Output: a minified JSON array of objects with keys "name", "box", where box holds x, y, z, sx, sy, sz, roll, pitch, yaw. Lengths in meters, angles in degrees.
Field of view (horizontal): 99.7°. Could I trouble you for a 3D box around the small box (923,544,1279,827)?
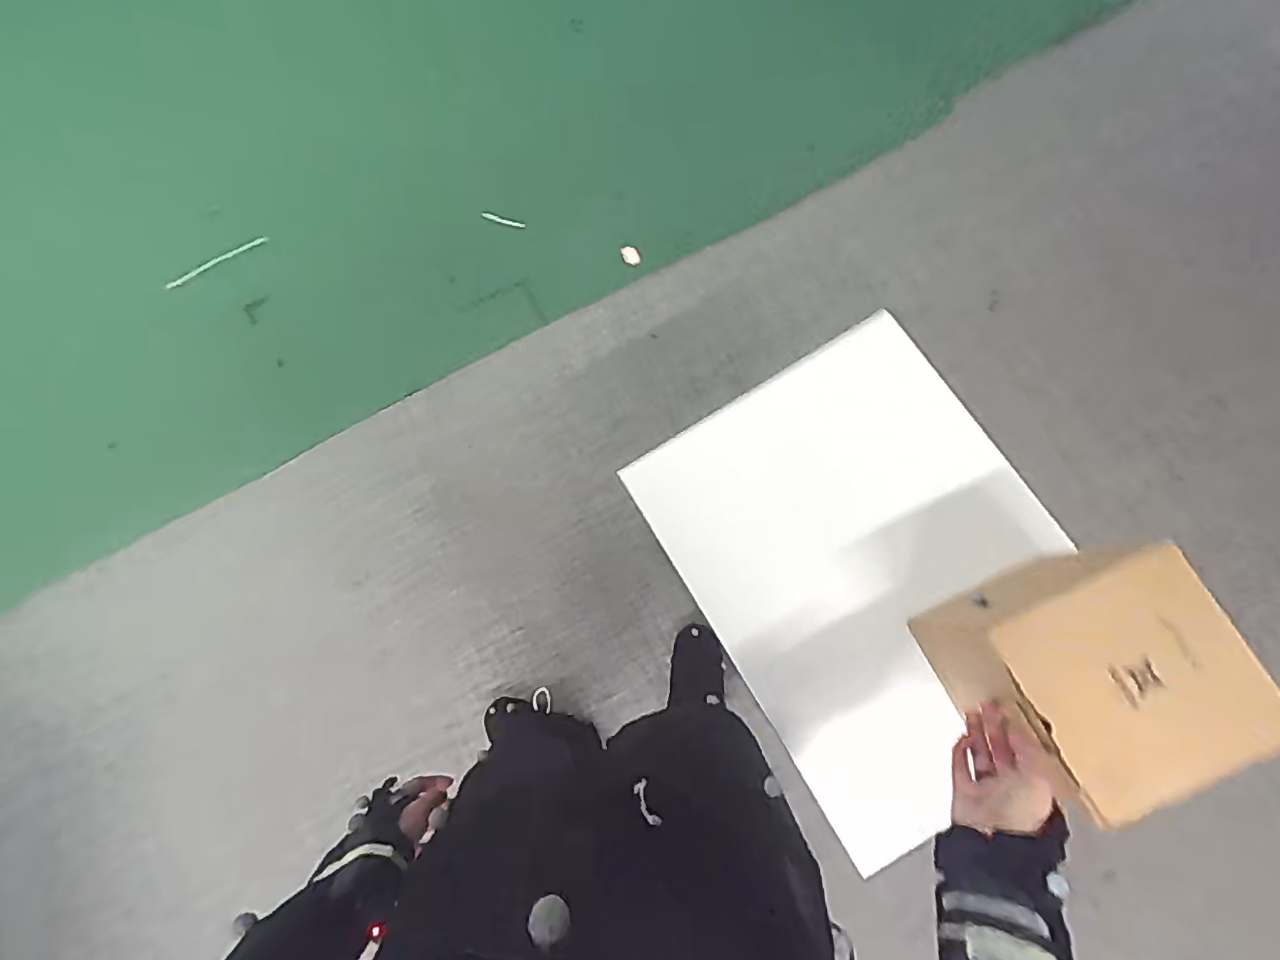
[{"name":"small box","box":[0.400,0.176,0.505,0.179,0.176,0.168,-24,77,-2]}]
